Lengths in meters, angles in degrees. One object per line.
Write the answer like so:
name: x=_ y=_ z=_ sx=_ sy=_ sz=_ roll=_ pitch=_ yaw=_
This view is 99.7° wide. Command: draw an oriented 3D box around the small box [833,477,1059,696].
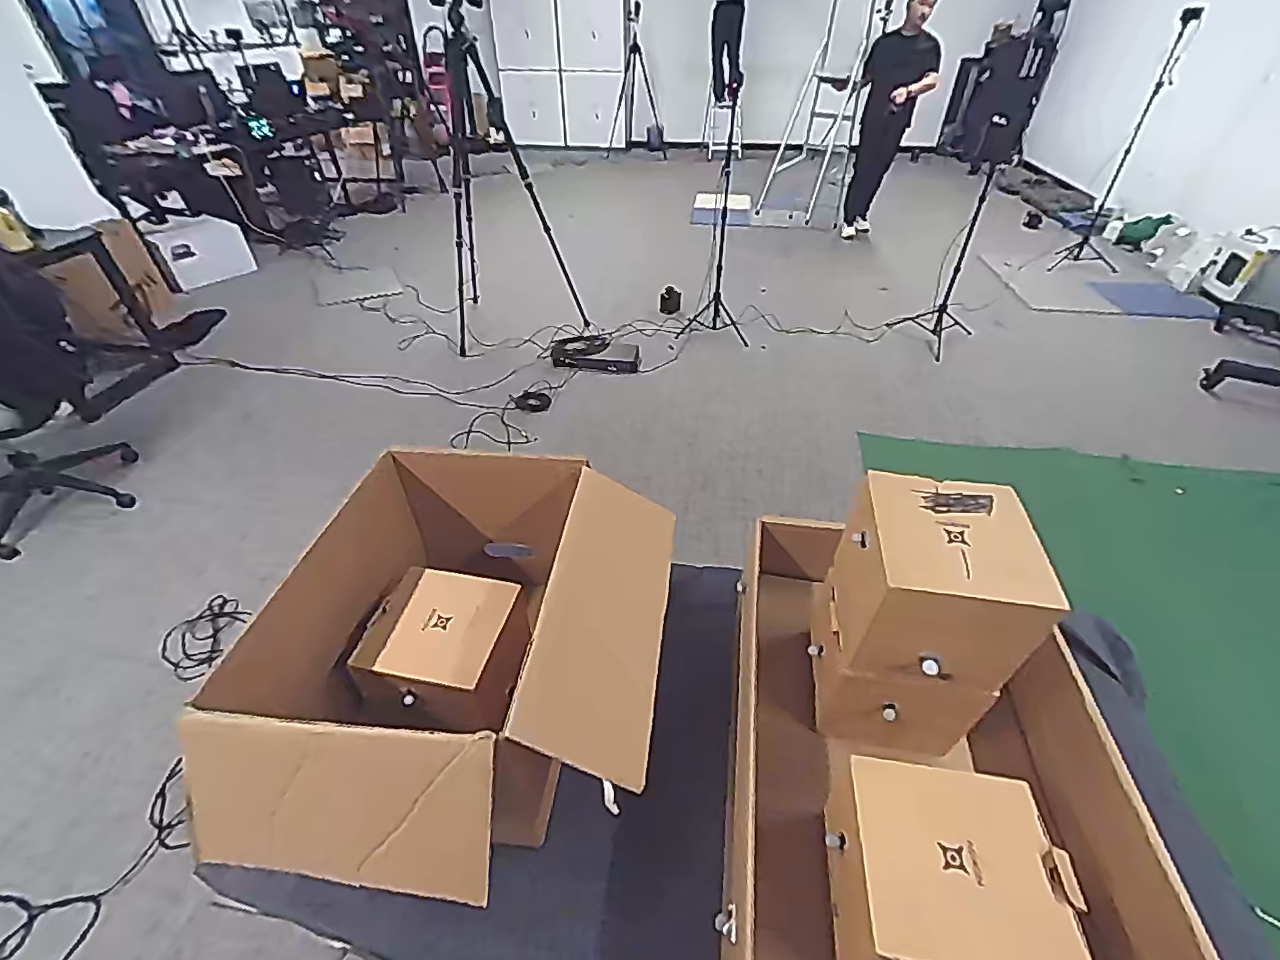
small box: x=0.335 y=0.123 z=0.639 sx=0.168 sy=0.176 sz=0.179 roll=7 pitch=43 yaw=8
